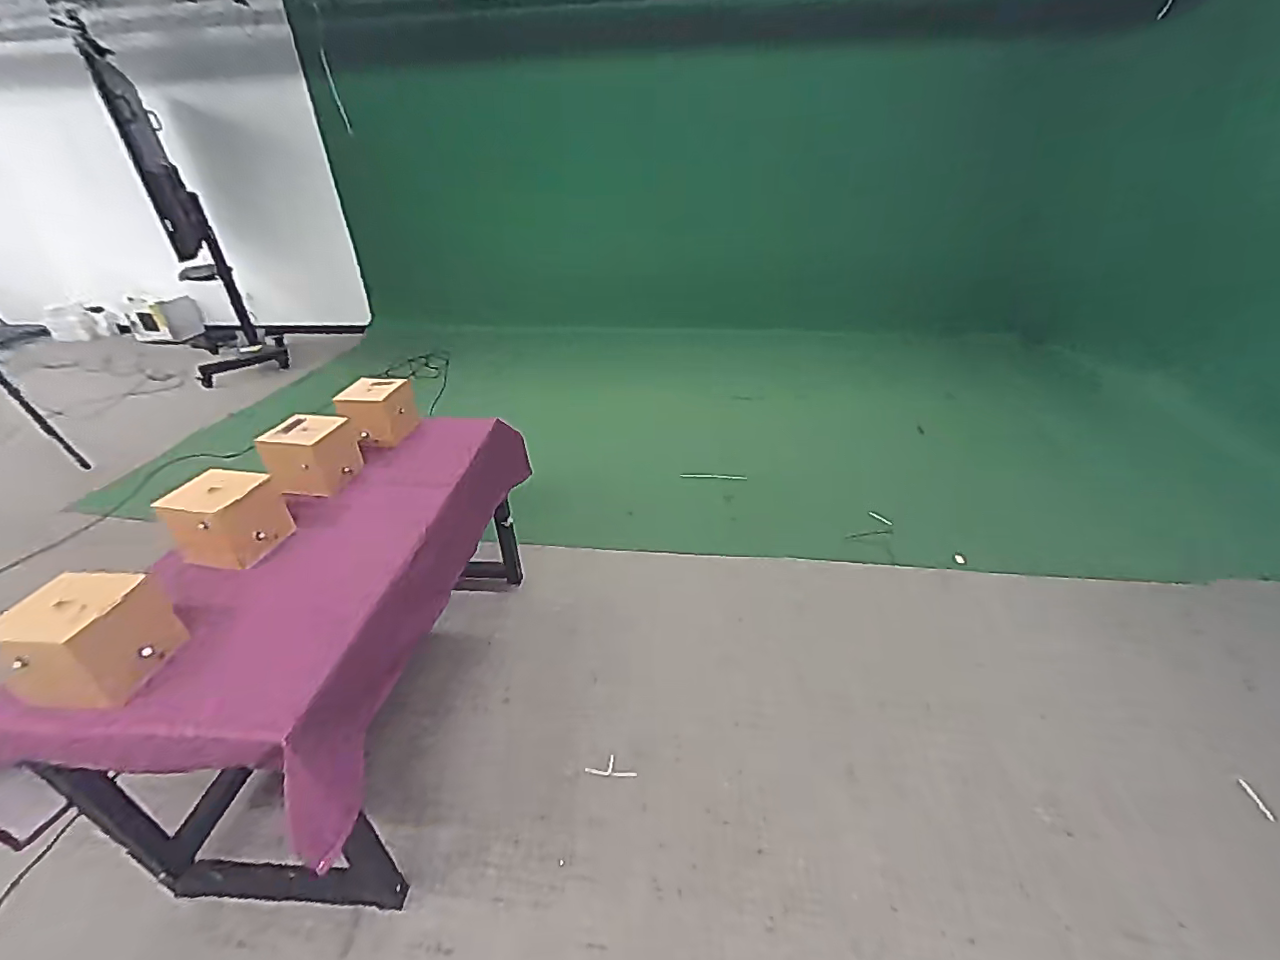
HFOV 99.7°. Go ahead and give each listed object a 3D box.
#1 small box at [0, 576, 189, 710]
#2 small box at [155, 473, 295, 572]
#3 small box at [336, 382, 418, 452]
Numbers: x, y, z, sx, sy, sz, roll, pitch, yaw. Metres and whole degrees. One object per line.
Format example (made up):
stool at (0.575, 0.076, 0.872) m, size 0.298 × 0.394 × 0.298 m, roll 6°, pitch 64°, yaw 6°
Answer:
small box at (-0.988, 0.292, 0.976) m, size 0.179 × 0.176 × 0.168 m, roll 1°, pitch 32°, yaw 5°
small box at (-0.977, 0.101, 1.290) m, size 0.179 × 0.176 × 0.168 m, roll 6°, pitch 33°, yaw 10°
small box at (-0.853, -0.209, 1.777) m, size 0.168 × 0.176 × 0.179 m, roll 2°, pitch 34°, yaw 7°
